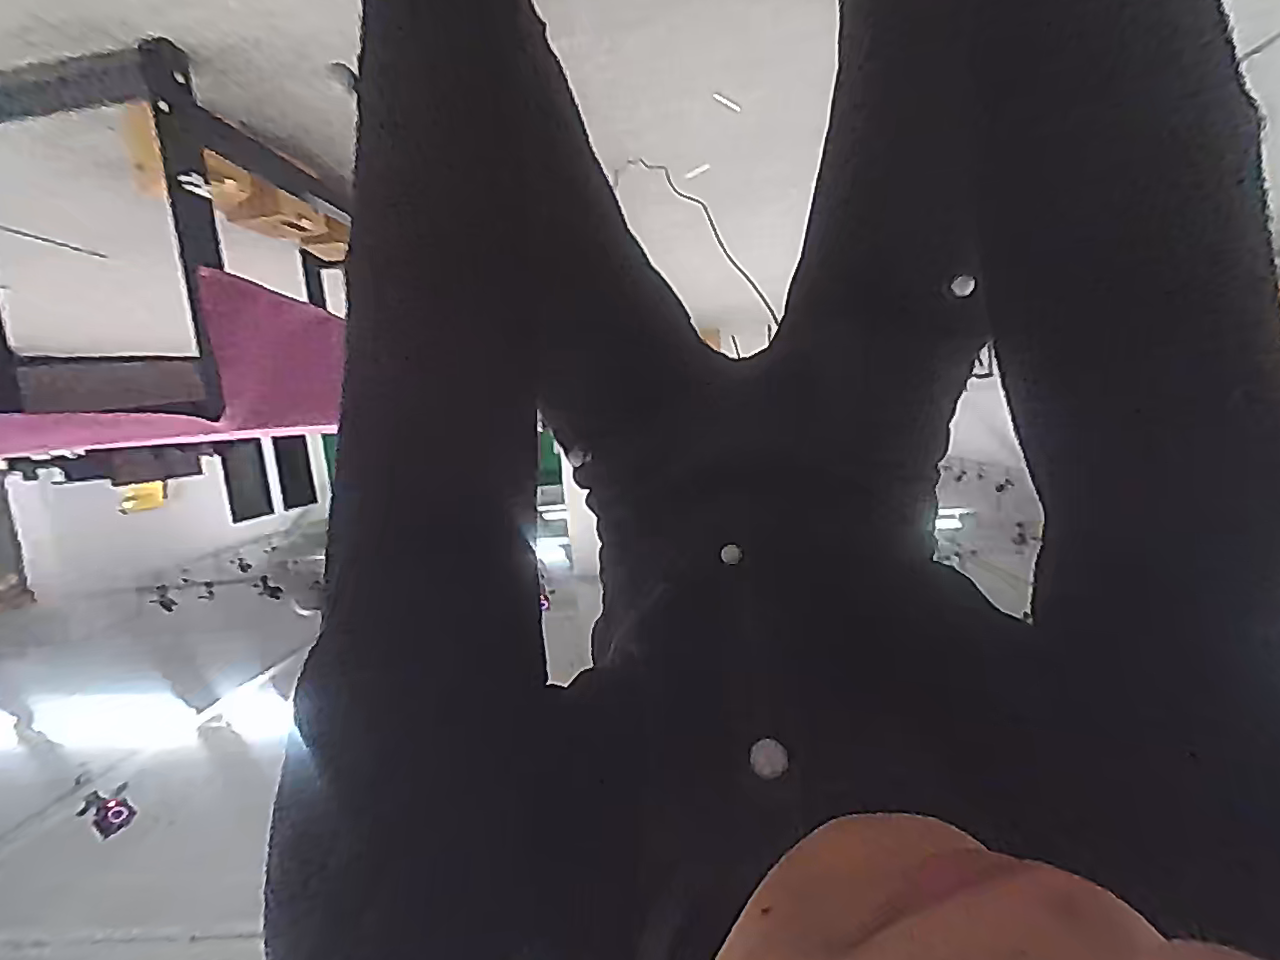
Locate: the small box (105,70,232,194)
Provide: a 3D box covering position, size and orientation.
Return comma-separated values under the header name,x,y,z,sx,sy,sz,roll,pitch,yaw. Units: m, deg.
name,x,y,z,sx,sy,sz,roll,pitch,yaw
small box,-1.078,-0.785,1.235,0.179,0.176,0.168,0,-169,33
